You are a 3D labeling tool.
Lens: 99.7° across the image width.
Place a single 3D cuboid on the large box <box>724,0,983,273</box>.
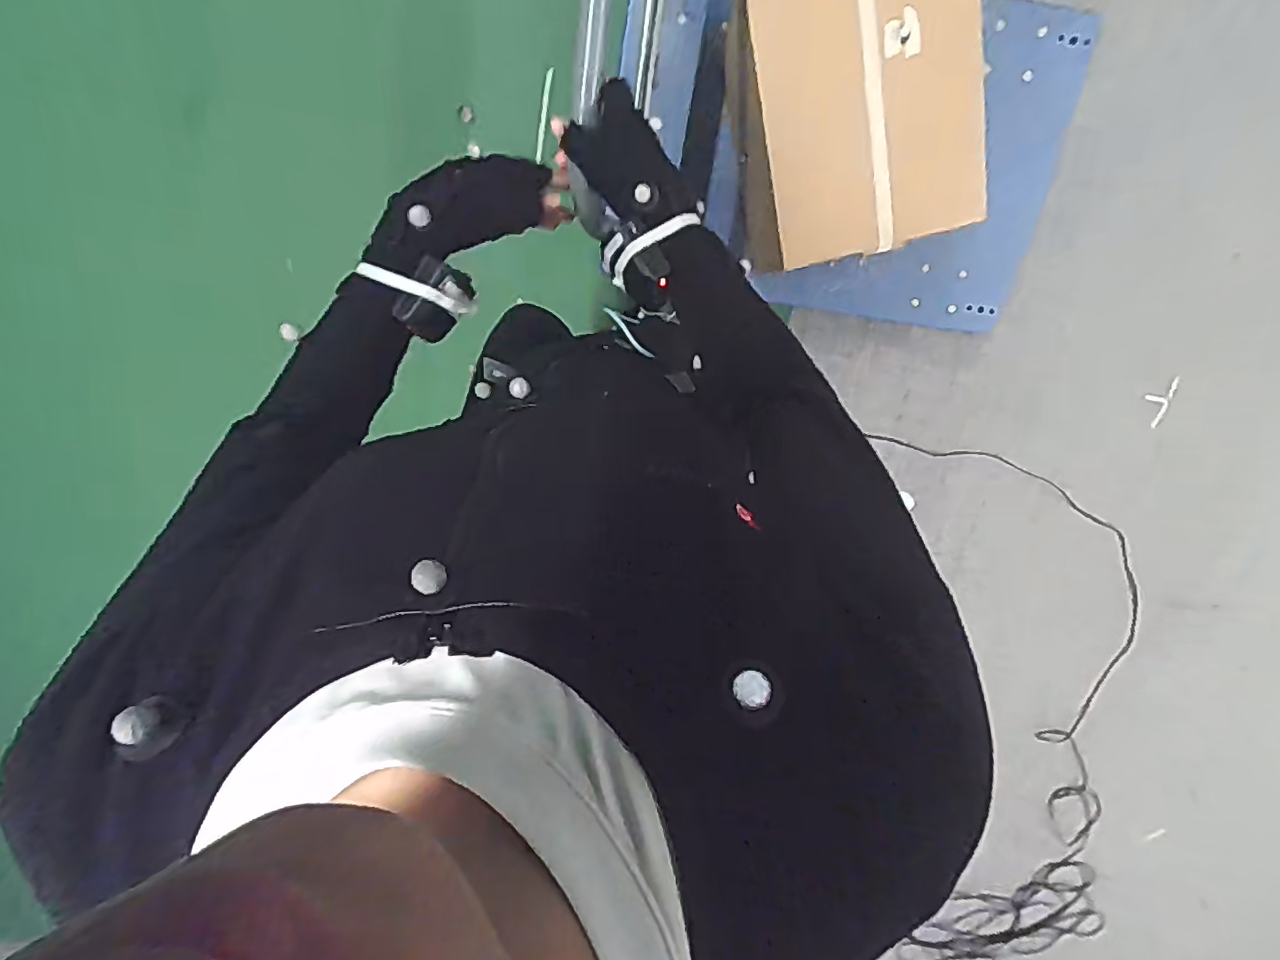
[{"bbox_3d":[0.342,-0.608,0.933,0.320,0.320,0.408,-12,107,7],"label":"large box"}]
